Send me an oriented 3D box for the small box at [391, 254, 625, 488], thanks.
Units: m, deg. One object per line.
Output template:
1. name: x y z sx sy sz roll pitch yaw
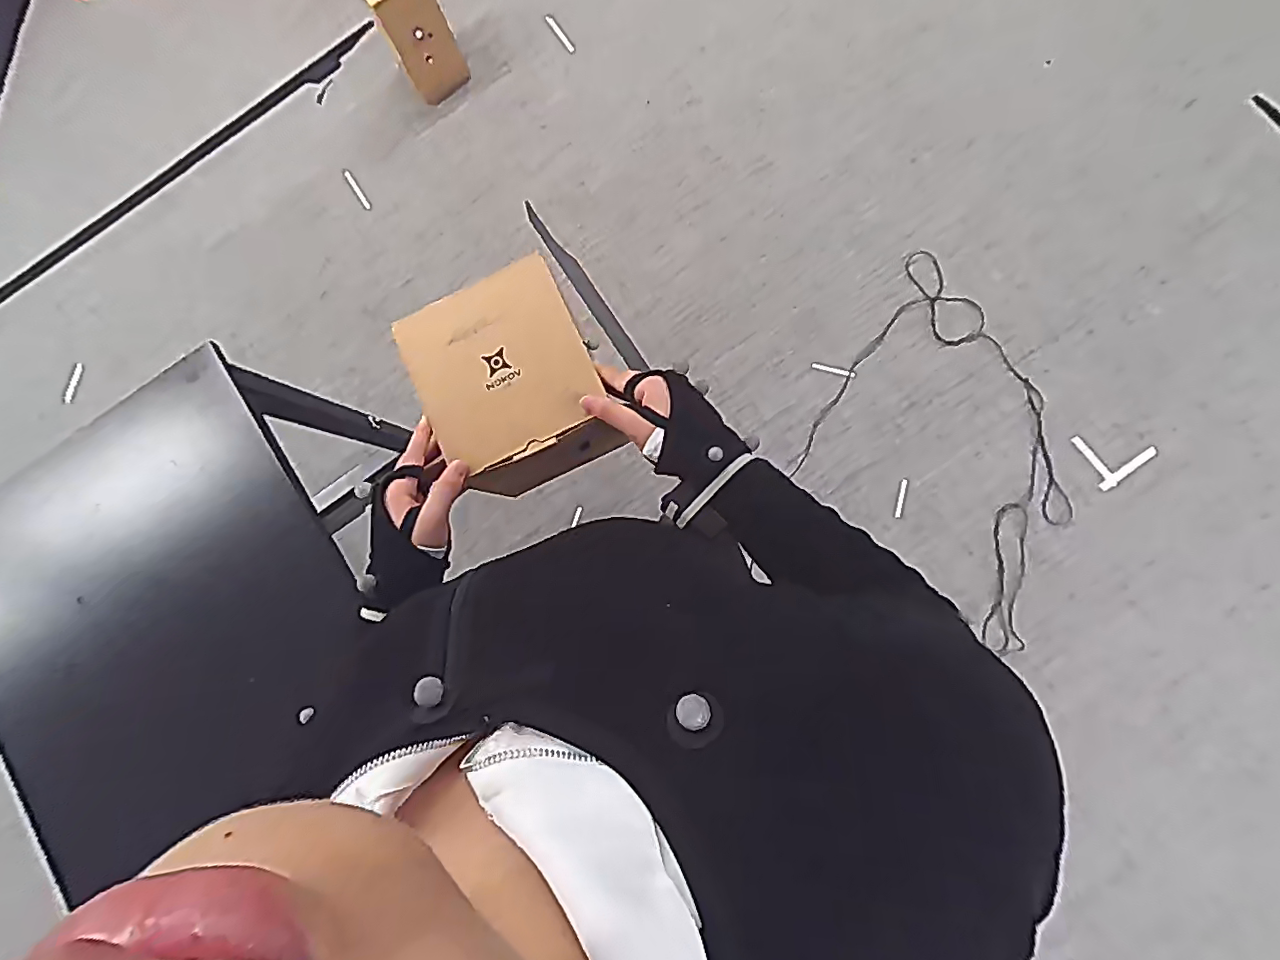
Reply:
1. small box: -0.127 -0.100 0.589 0.168 0.176 0.179 -26 82 1

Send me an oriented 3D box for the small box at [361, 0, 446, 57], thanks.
1. small box: -0.663 -1.312 1.460 0.168 0.176 0.179 -34 84 0

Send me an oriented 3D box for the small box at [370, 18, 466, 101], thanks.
1. small box: -0.658 -1.299 1.624 0.179 0.176 0.168 -34 84 0
